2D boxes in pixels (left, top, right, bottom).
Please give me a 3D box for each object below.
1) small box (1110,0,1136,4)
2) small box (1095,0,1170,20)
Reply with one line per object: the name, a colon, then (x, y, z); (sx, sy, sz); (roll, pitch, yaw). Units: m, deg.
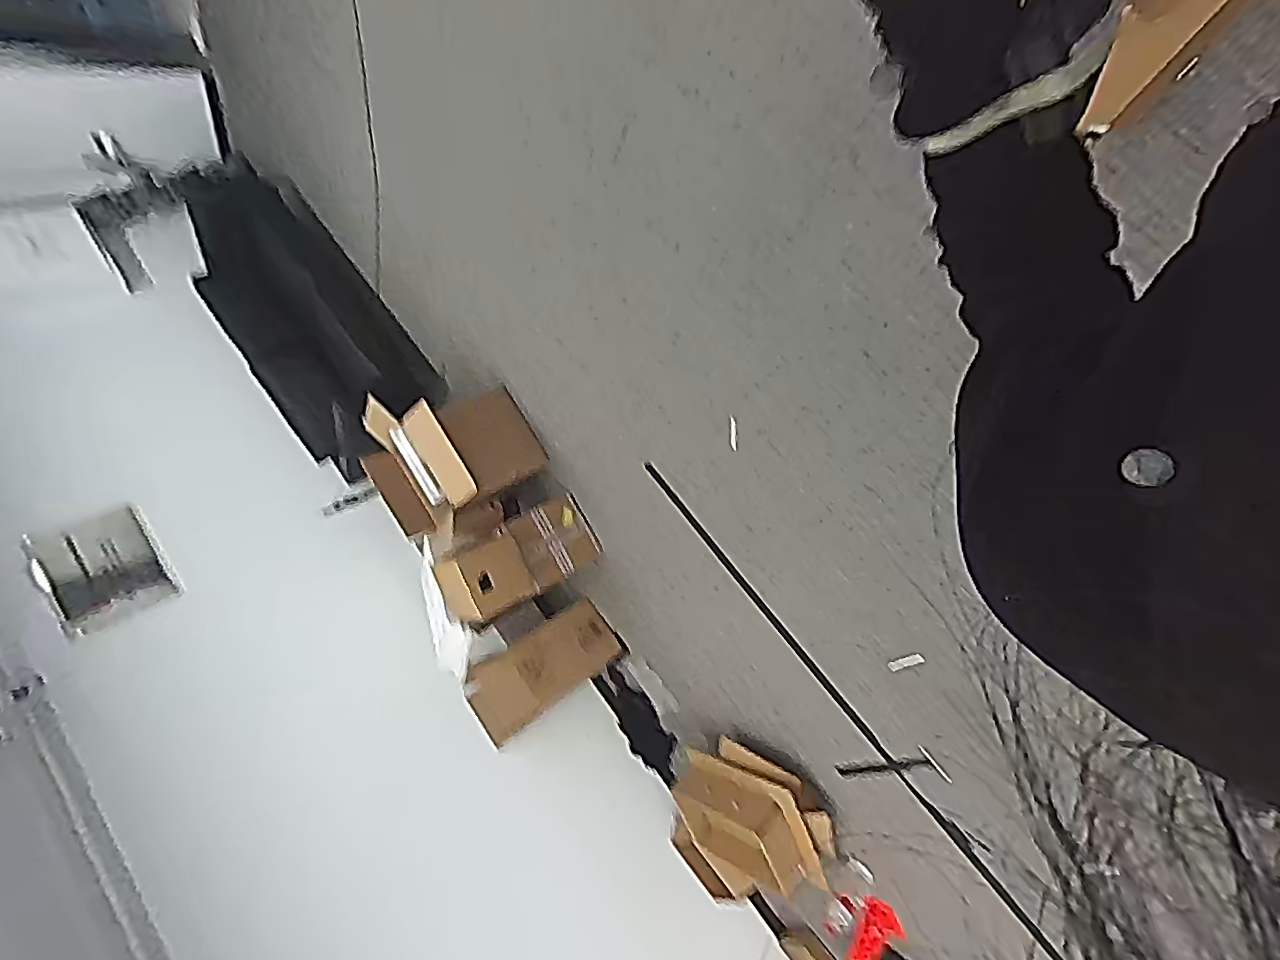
small box: (0.527, -0.648, 0.576); (0.179, 0.176, 0.168); (48, 141, 16)
small box: (0.634, -0.716, 0.678); (0.179, 0.176, 0.168); (48, 142, 14)
